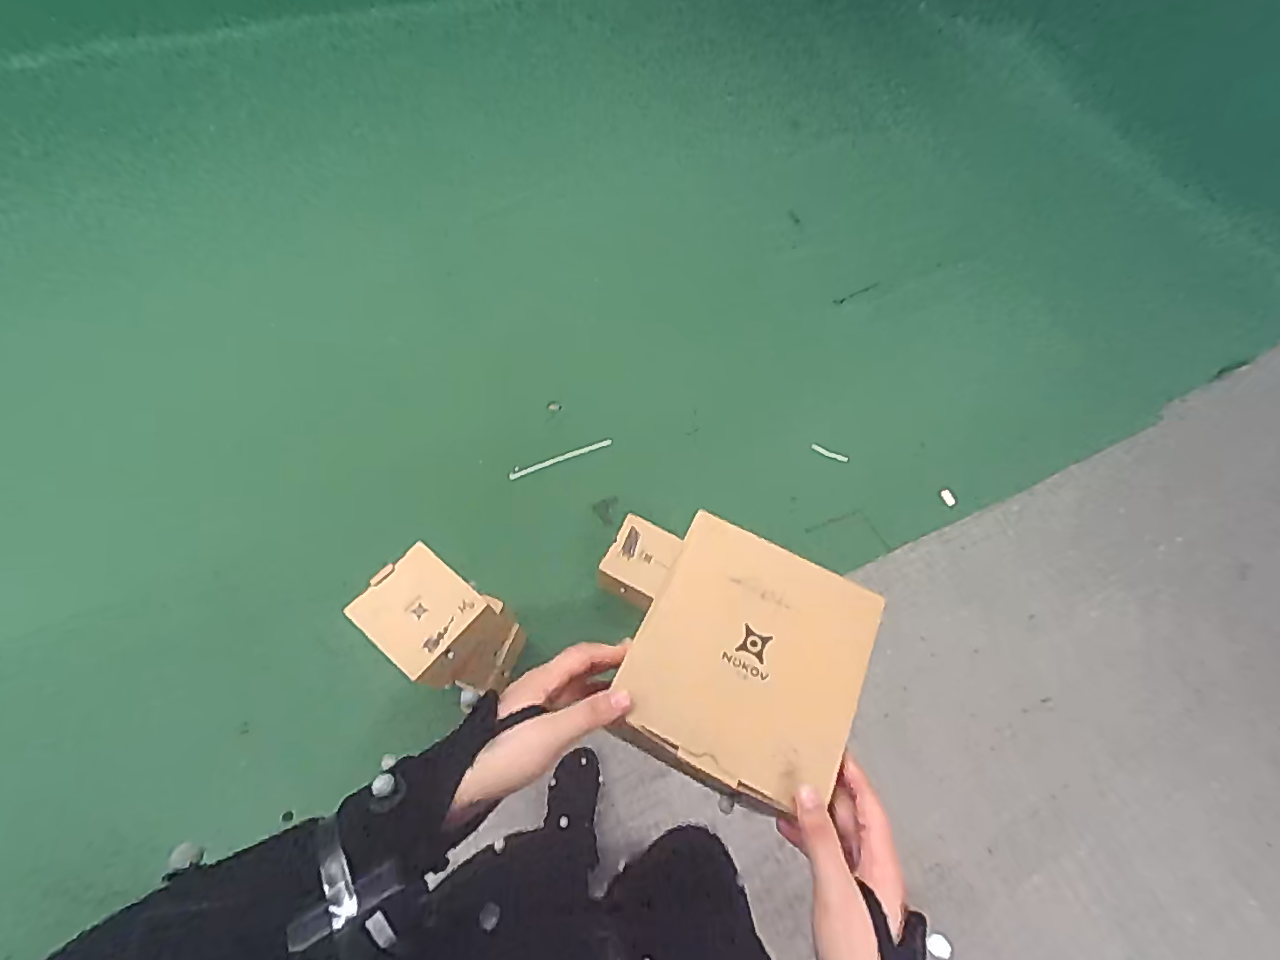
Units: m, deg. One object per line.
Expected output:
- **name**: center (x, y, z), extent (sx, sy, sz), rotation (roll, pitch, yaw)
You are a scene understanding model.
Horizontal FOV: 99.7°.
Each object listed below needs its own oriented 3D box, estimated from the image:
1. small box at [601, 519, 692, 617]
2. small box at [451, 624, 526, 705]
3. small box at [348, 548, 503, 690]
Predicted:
- **small box**: center (0.010, 0.230, 1.378), extent (0.179, 0.176, 0.168), rotation (26, 65, 7)
- **small box**: center (-0.381, 0.411, 1.260), extent (0.179, 0.176, 0.168), rotation (20, 64, 6)
- **small box**: center (-0.372, 0.257, 0.970), extent (0.179, 0.176, 0.168), rotation (38, 68, 13)
